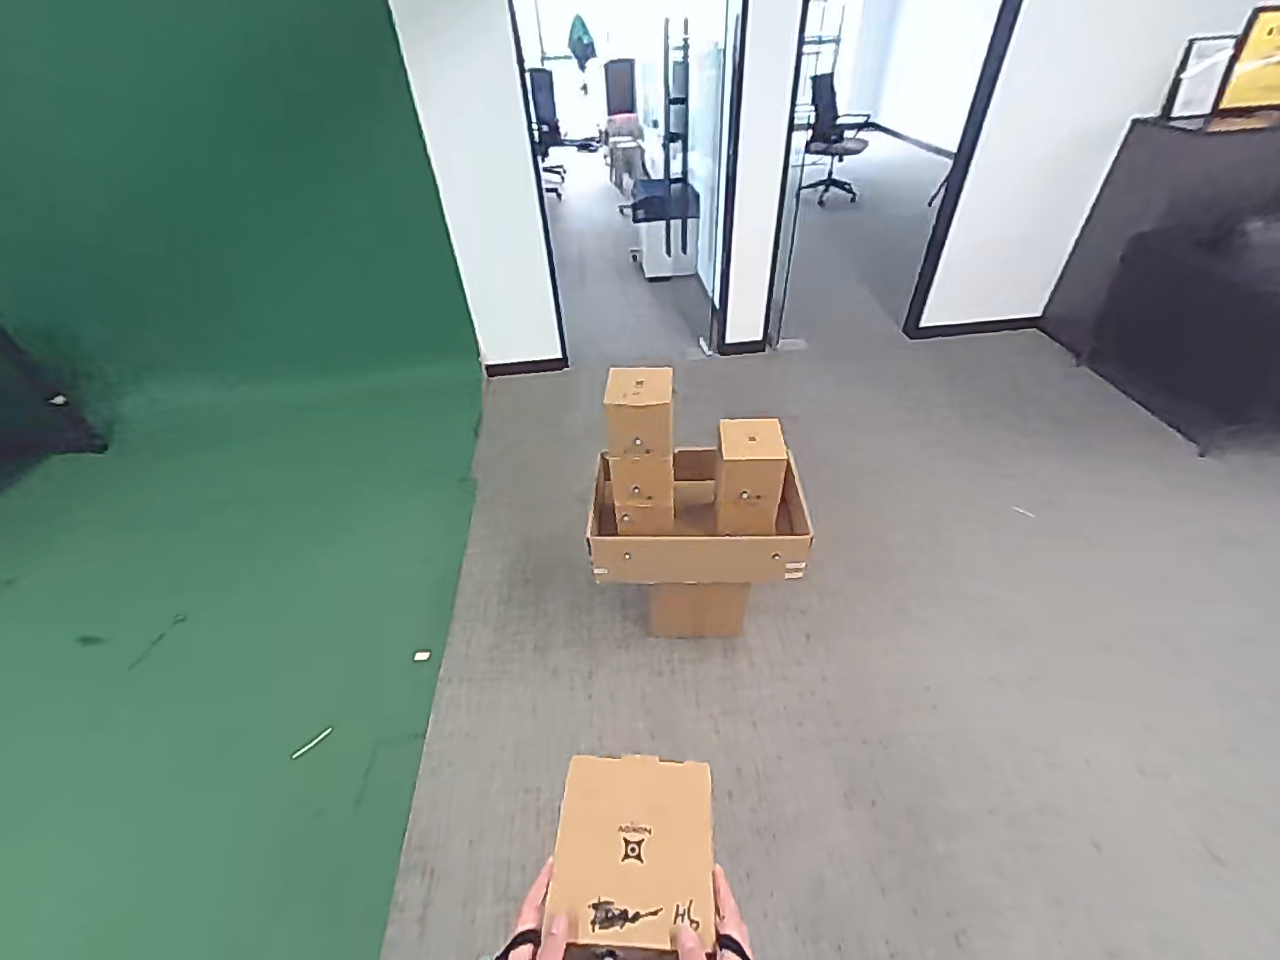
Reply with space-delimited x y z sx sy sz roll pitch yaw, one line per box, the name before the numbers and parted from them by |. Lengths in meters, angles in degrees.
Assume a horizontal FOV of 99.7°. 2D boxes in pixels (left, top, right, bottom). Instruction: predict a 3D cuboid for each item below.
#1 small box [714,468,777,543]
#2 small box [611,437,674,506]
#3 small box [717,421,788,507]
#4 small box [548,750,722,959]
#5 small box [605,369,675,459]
small box | 0.310 0.073 1.610 0.168 0.176 0.179 1 41 4
small box | 0.011 -0.048 1.521 0.168 0.176 0.179 1 42 4
small box | 0.304 -0.046 1.499 0.168 0.176 0.179 0 42 4
small box | 0.002 0.440 0.613 0.168 0.176 0.179 1 35 5
small box | 0.005 -0.174 1.414 0.168 0.176 0.179 1 42 5
